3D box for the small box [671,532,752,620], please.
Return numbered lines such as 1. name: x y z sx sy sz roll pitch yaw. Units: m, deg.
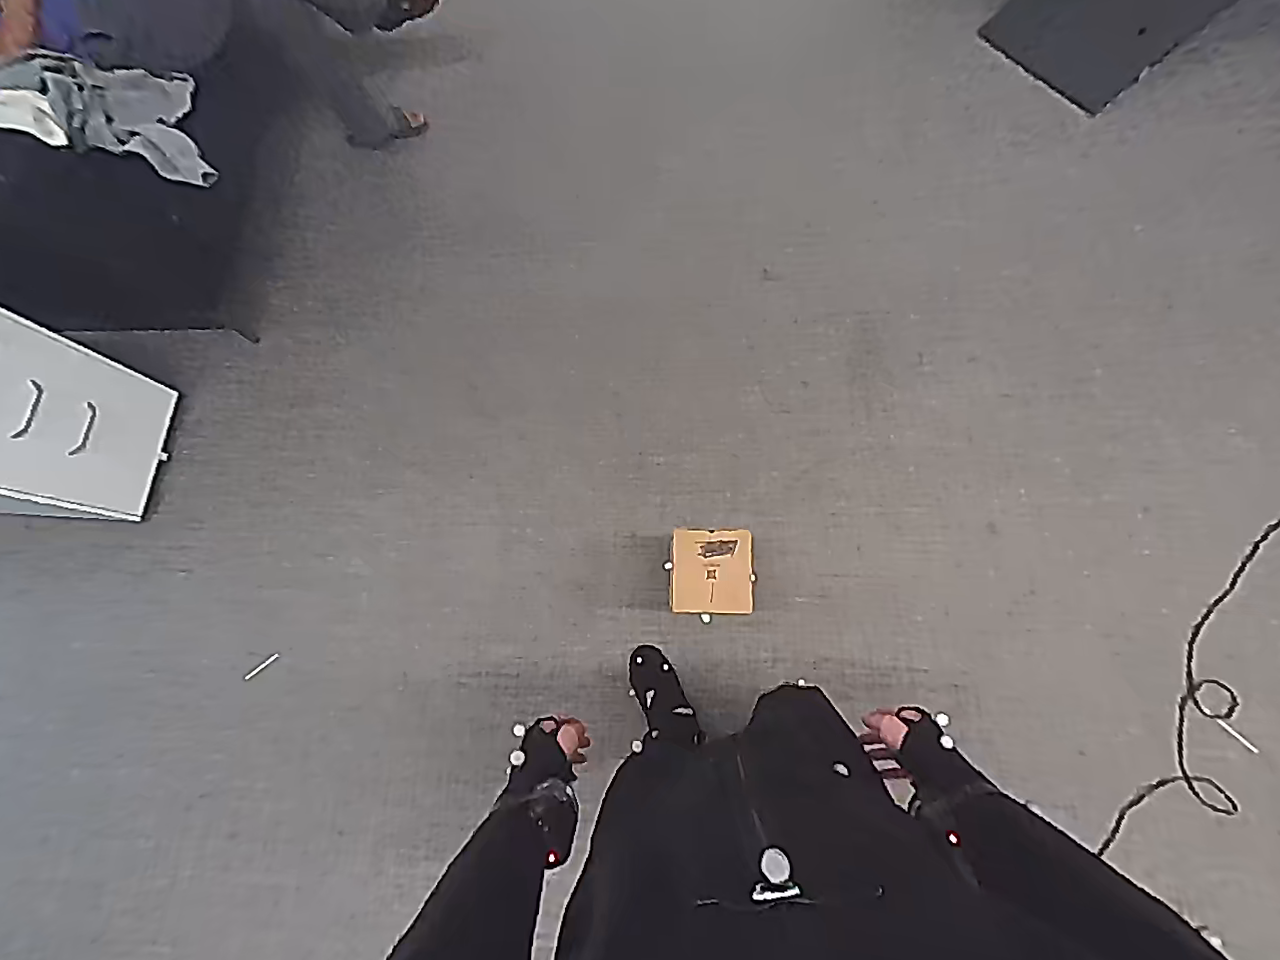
1. small box: 0.154 0.218 1.206 0.168 0.176 0.179 0 75 4
